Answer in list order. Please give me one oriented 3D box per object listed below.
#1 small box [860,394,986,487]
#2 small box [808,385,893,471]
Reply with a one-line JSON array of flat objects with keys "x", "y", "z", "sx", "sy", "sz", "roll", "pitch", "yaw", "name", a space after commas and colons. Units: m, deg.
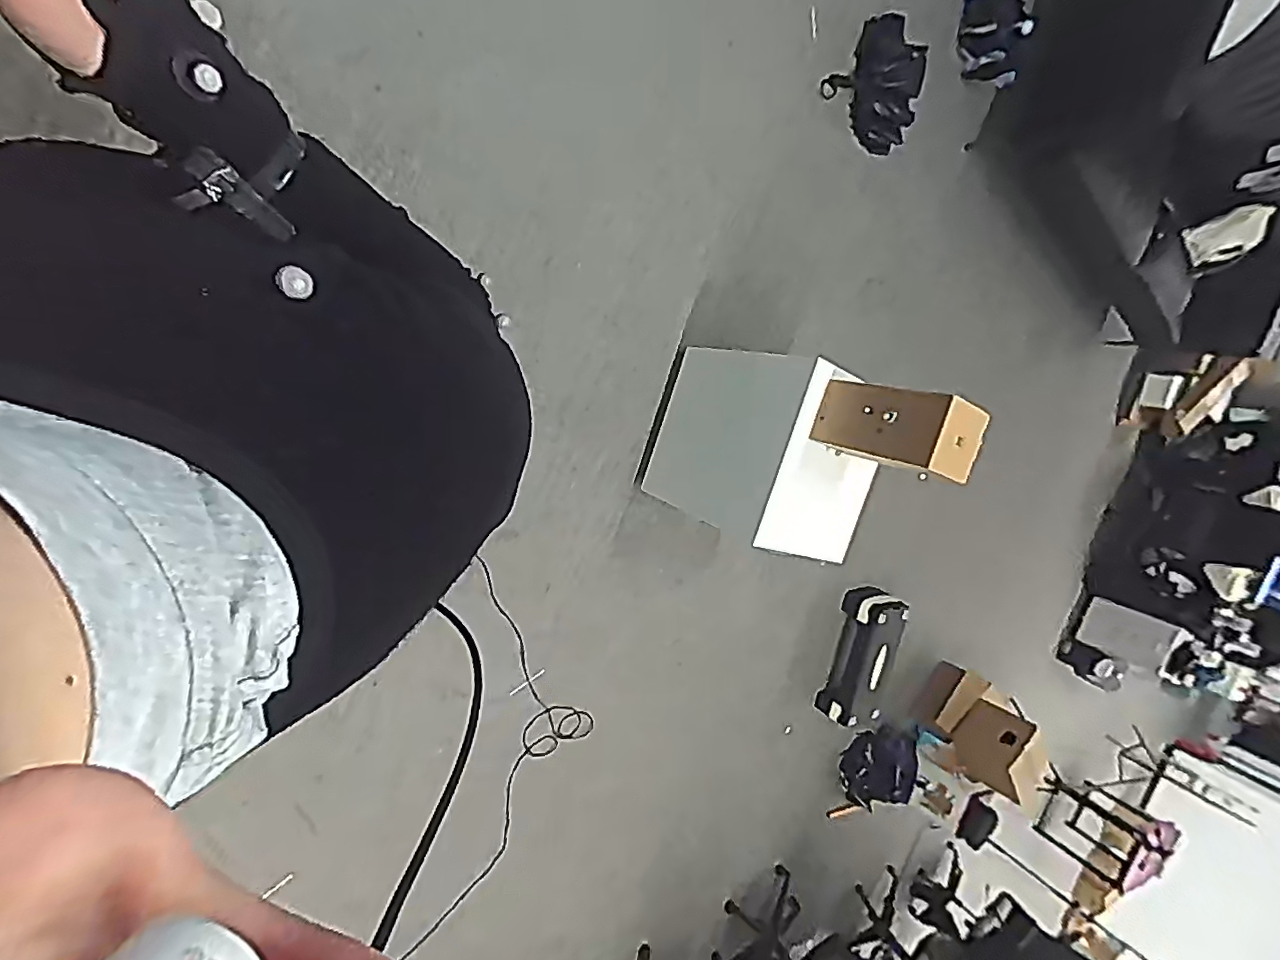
[{"x": 0.644, "y": -0.094, "z": 1.238, "sx": 0.179, "sy": 0.176, "sz": 0.168, "roll": 12, "pitch": 97, "yaw": -34, "name": "small box"}, {"x": 0.564, "y": -0.135, "z": 1.373, "sx": 0.179, "sy": 0.176, "sz": 0.168, "roll": 14, "pitch": 96, "yaw": -36, "name": "small box"}]
